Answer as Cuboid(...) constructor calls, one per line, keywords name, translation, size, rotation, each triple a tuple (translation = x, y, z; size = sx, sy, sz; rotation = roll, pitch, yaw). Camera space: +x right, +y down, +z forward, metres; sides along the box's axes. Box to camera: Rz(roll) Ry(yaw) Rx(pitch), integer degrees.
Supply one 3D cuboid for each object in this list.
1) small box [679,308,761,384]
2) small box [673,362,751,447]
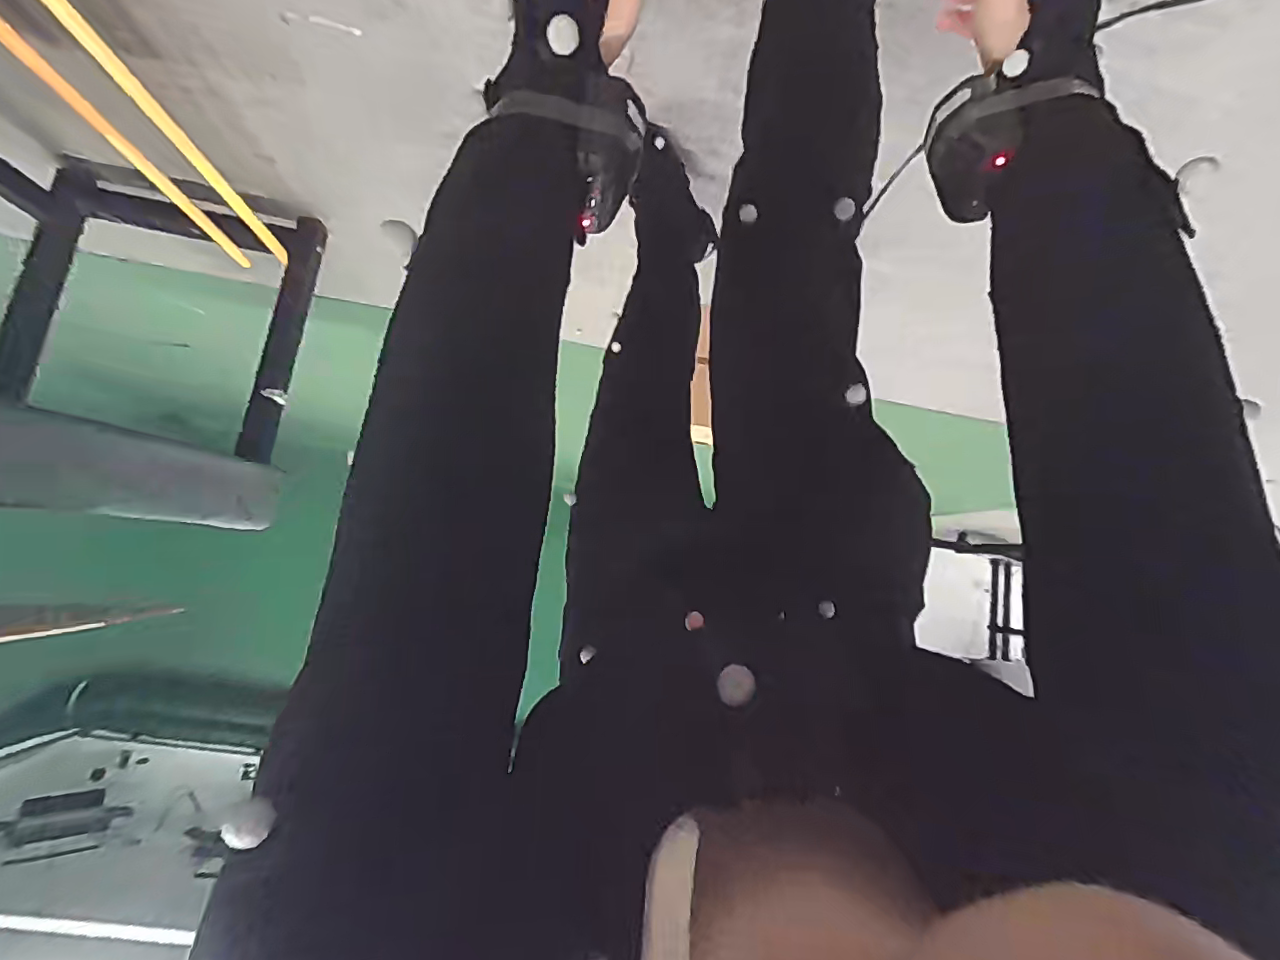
Cuboid(name="small box", translation=(0.218, -0.354, 1.484), size=(0.179, 0.176, 0.168), rotation=(9, 171, -8))
Cuboid(name="small box", translation=(0.191, -0.198, 1.443), size=(0.168, 0.176, 0.179), rotation=(8, 170, -5))
